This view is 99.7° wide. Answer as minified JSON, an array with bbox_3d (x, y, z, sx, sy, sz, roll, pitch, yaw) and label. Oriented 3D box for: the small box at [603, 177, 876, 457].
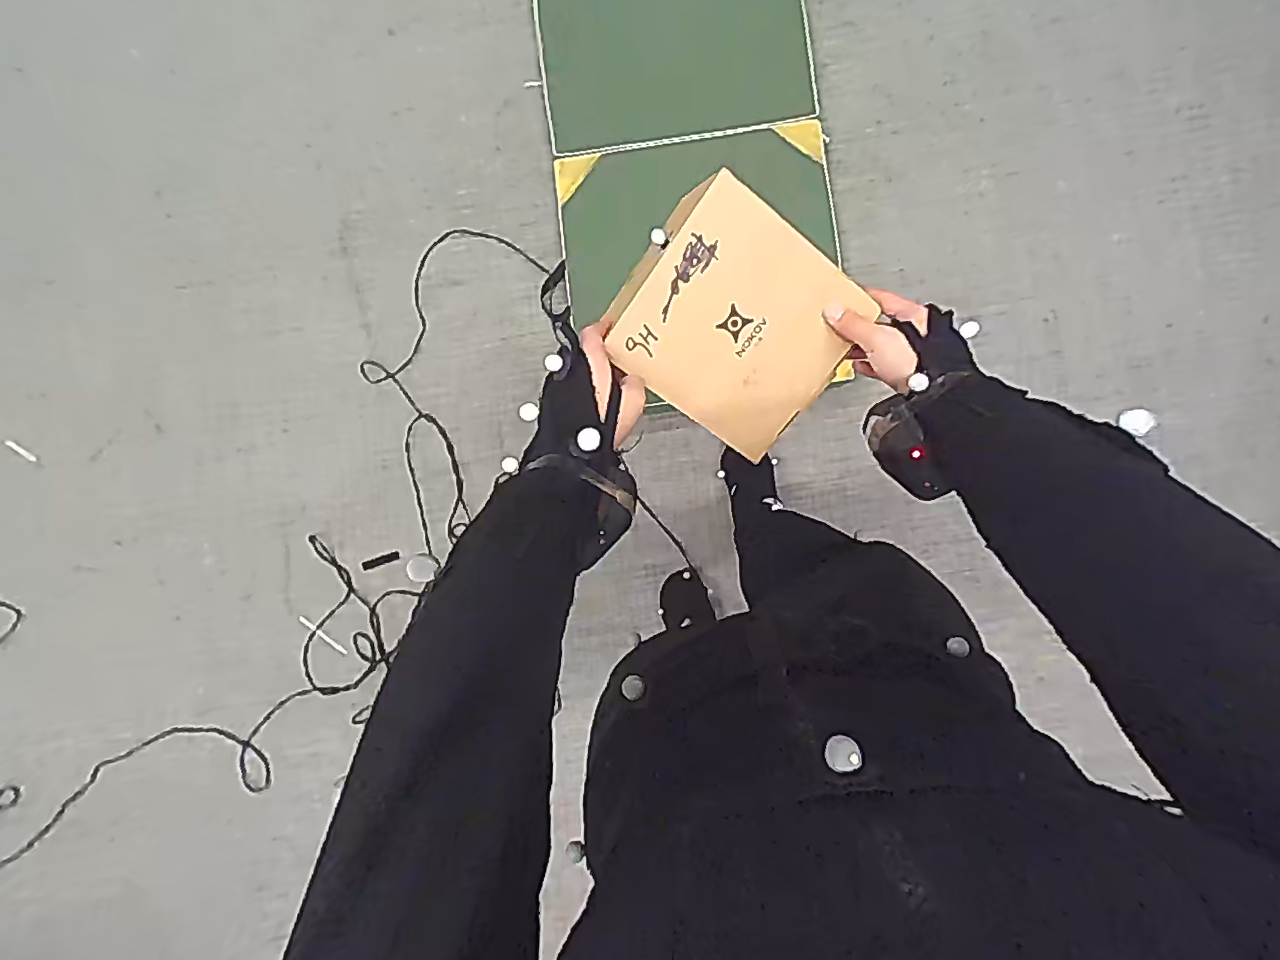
[{"bbox_3d":[0.080,-0.156,0.526,0.179,0.176,0.168,34,105,-16],"label":"small box"}]
